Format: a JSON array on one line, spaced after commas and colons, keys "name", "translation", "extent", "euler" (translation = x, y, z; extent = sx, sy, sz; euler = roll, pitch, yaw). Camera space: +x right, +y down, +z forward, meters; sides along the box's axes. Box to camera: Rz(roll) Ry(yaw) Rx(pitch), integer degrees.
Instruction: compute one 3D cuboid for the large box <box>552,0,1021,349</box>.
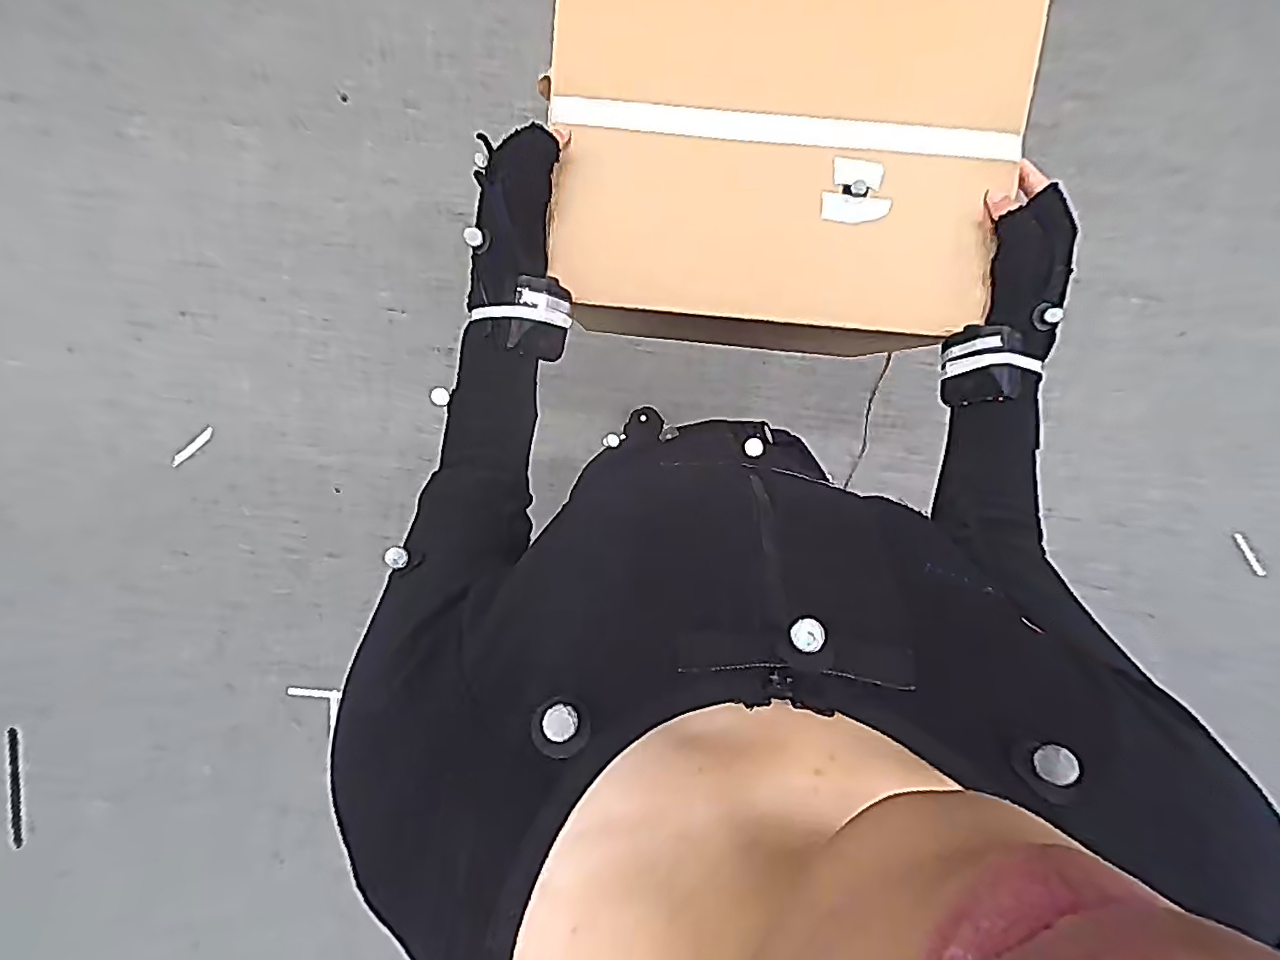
[{"name": "large box", "translation": [0.123, -0.333, 0.633], "extent": [0.408, 0.320, 0.320], "euler": [5, 101, 0]}]
